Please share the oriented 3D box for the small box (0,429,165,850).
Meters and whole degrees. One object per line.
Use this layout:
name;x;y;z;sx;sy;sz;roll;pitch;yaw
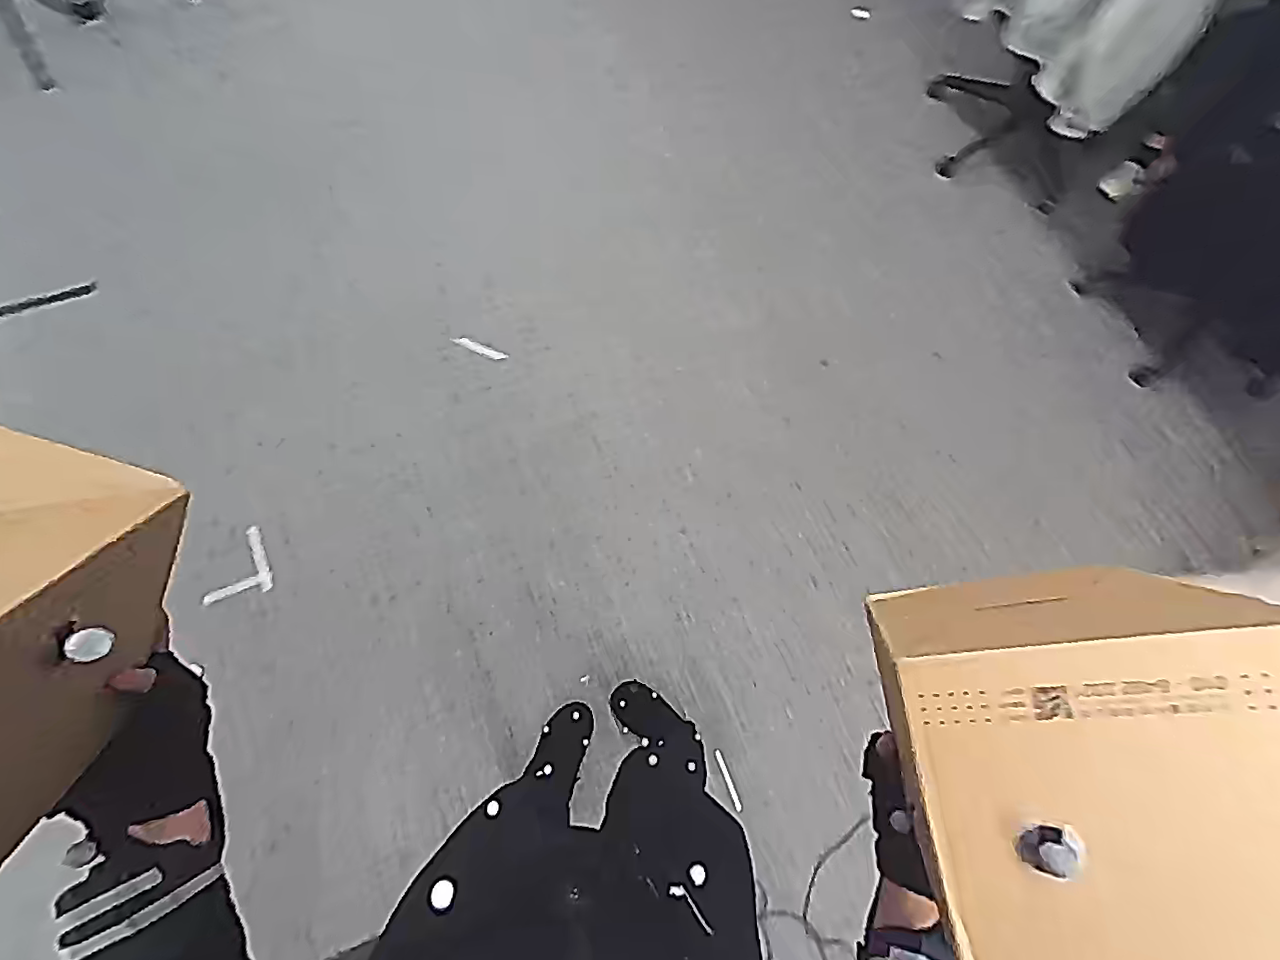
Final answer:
small box;-0.330;0.072;0.200;0.168;0.179;0.176;21;104;-20
